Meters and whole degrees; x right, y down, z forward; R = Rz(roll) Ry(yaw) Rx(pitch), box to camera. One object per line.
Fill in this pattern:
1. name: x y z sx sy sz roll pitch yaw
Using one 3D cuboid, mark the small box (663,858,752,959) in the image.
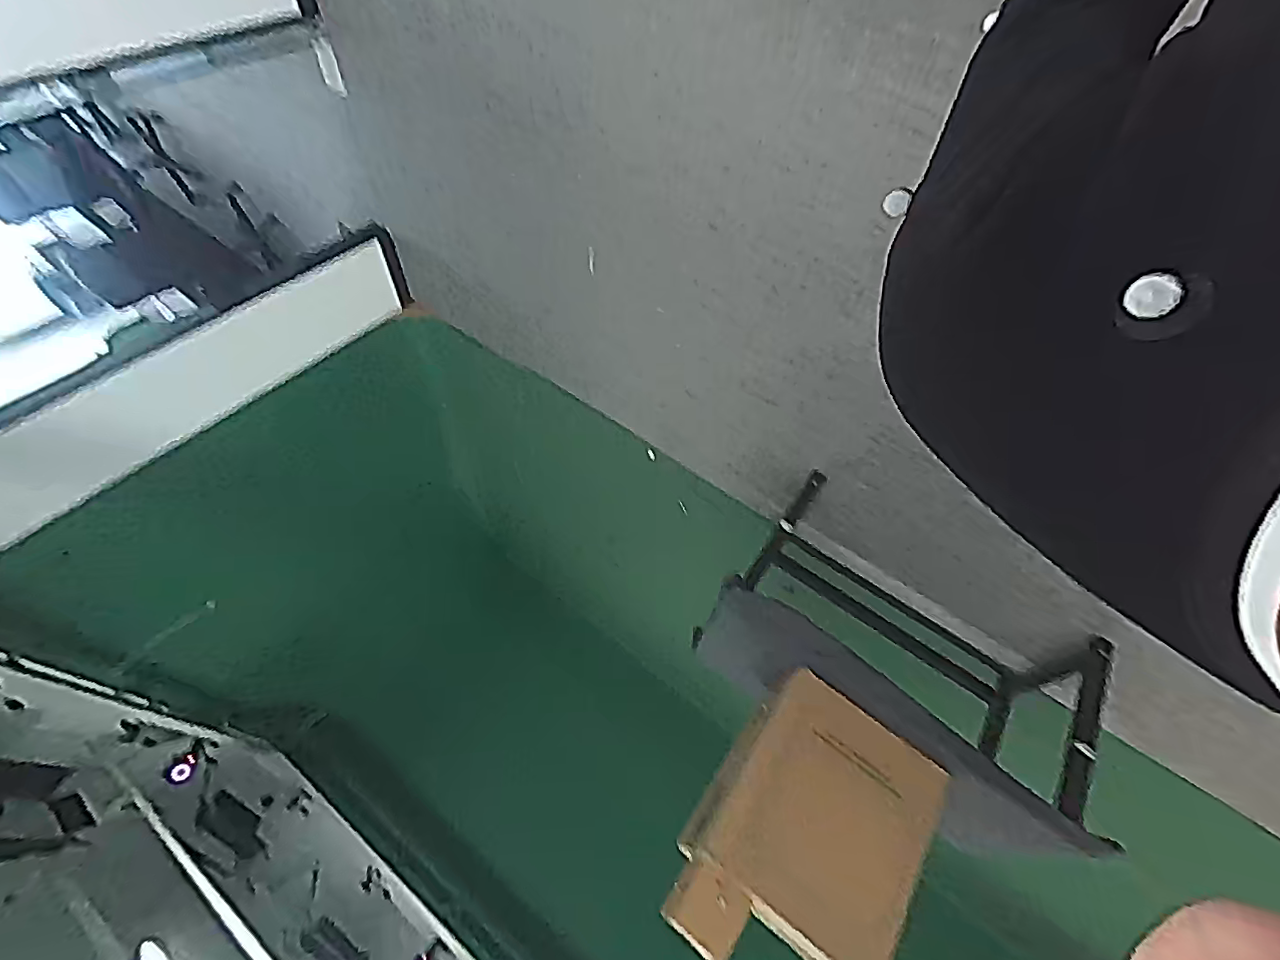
1. small box: 0.192 1.204 1.525 0.168 0.176 0.179 36 147 13
